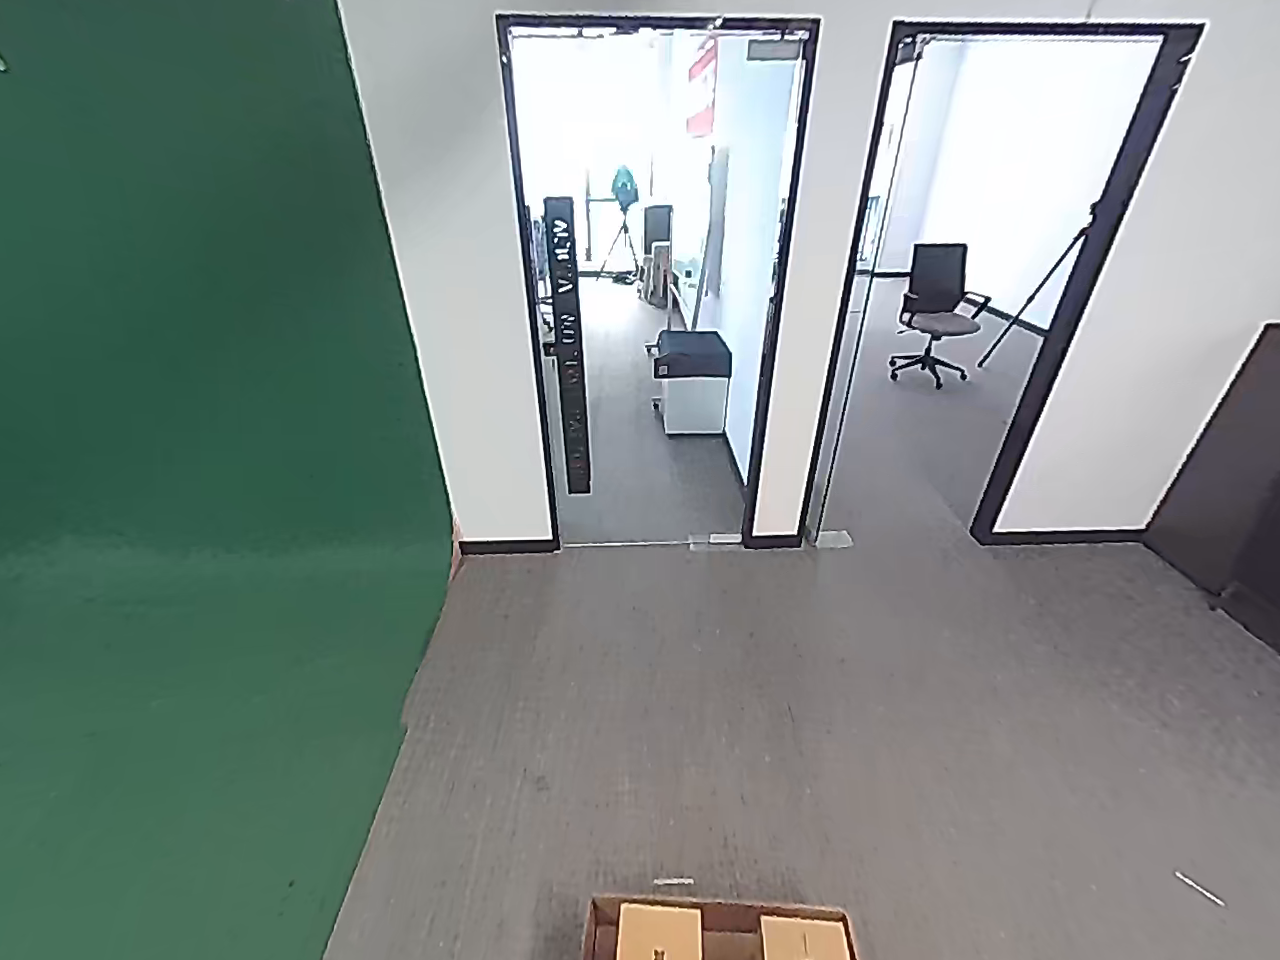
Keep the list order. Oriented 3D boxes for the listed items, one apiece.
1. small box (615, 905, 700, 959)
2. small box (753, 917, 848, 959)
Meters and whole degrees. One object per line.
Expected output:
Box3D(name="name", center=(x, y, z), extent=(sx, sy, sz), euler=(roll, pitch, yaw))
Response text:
Box3D(name="small box", center=(0.030, 0.982, 1.059), extent=(0.168, 0.176, 0.179), euler=(3, 30, 3))
Box3D(name="small box", center=(0.312, 0.992, 1.043), extent=(0.168, 0.176, 0.179), euler=(2, 30, 5))
